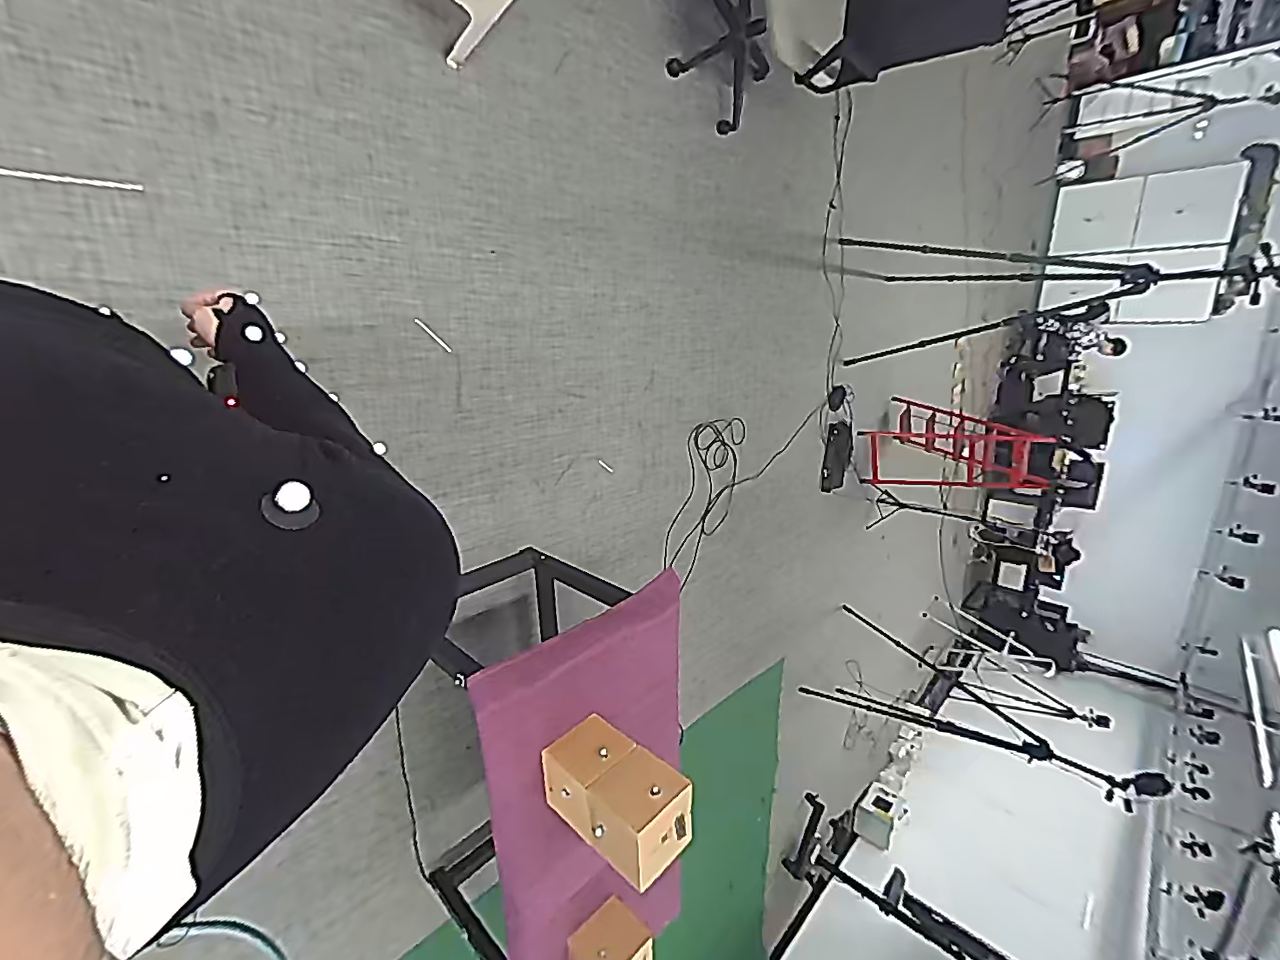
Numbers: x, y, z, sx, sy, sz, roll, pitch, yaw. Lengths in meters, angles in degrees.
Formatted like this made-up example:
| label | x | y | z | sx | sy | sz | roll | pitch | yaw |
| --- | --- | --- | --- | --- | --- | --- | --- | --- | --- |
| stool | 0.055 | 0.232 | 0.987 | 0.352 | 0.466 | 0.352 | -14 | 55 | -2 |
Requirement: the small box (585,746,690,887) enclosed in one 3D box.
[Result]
| label | x | y | z | sx | sy | sz | roll | pitch | yaw |
| --- | --- | --- | --- | --- | --- | --- | --- | --- | --- |
| small box | -0.005 | 0.746 | 1.225 | 0.179 | 0.176 | 0.168 | -18 | 113 | -42 |

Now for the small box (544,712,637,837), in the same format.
| label | x | y | z | sx | sy | sz | roll | pitch | yaw |
| --- | --- | --- | --- | --- | --- | --- | --- | --- | --- |
| small box | -0.124 | 0.716 | 1.334 | 0.179 | 0.176 | 0.168 | -19 | 114 | -43 |
